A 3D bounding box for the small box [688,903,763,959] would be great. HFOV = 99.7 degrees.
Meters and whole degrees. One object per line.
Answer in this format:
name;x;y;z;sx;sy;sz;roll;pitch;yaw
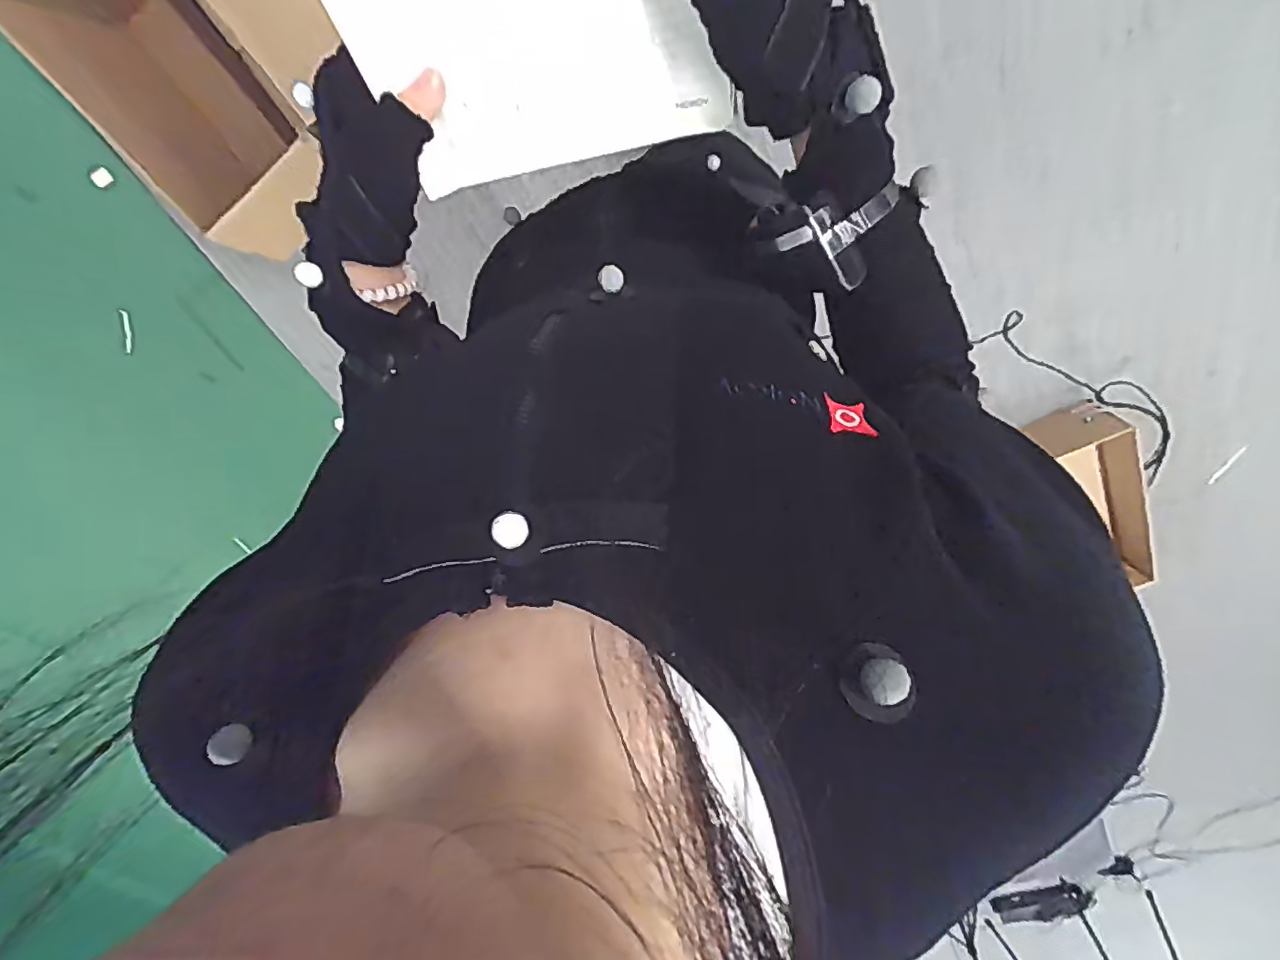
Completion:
small box;0.242;1.315;1.501;0.168;0.176;0.179;-22;118;12
